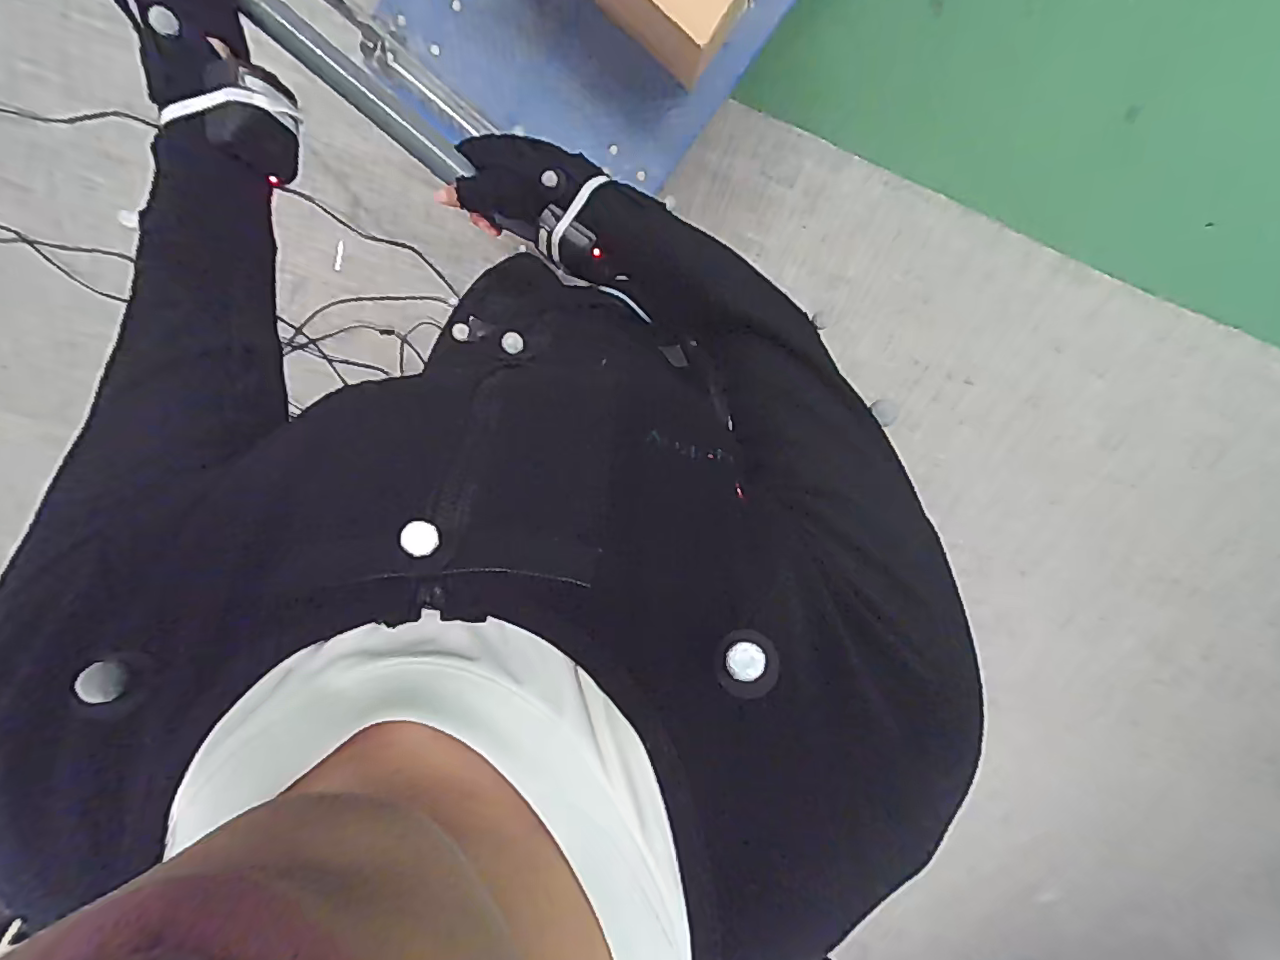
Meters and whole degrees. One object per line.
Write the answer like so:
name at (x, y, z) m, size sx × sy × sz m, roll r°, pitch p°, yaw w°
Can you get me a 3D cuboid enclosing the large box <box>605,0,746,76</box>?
large box at (0.022, -0.891, 0.775) m, size 0.408 × 0.320 × 0.320 m, roll 34°, pitch 113°, yaw -14°
